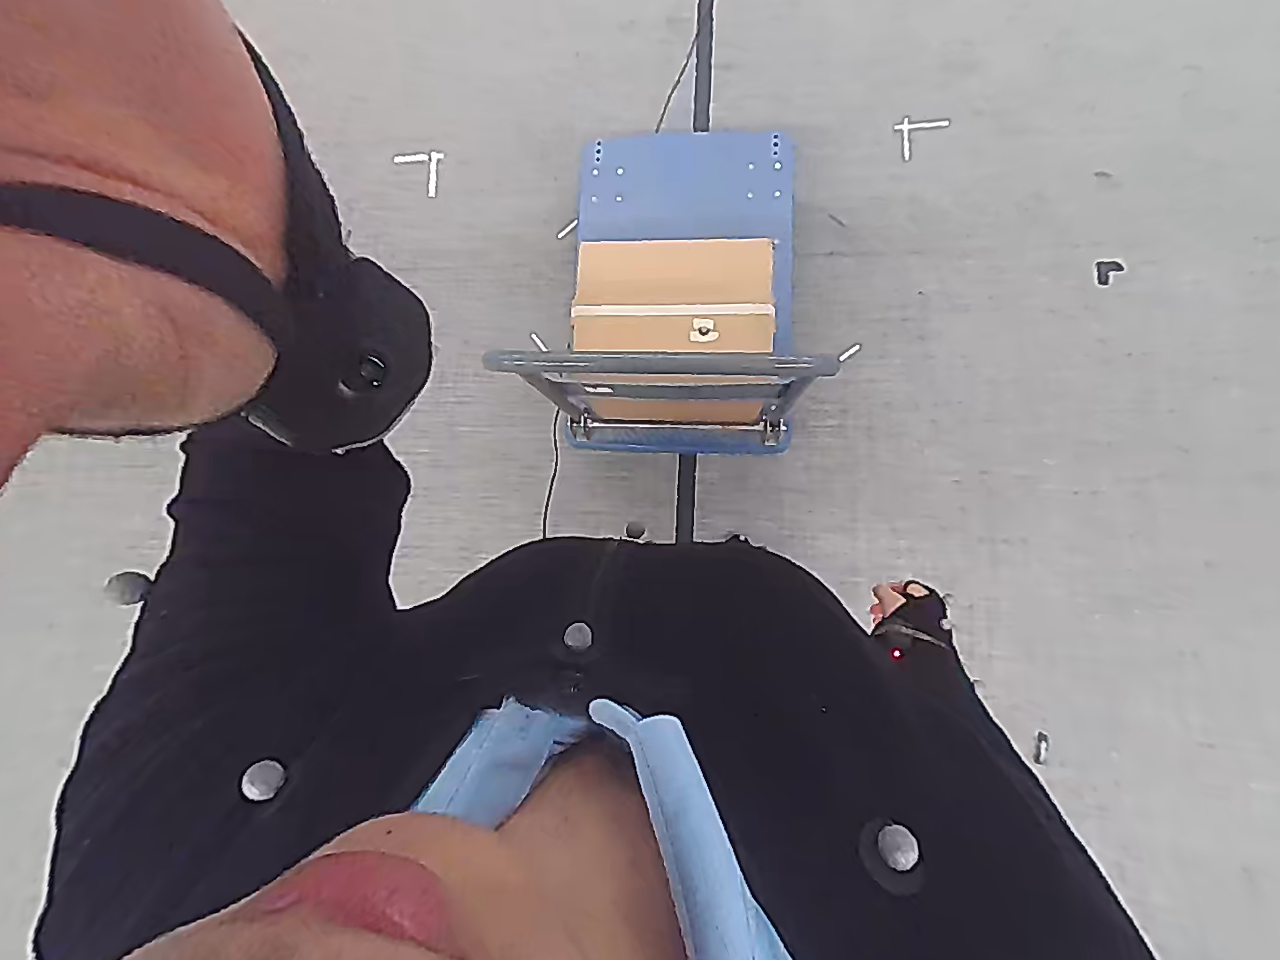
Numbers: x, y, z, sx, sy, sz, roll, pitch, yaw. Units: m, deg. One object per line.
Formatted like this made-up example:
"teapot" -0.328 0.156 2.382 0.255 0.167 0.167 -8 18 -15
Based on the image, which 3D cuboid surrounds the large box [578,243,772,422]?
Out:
"large box" 0.083 -0.321 1.264 0.408 0.320 0.320 1 83 6
